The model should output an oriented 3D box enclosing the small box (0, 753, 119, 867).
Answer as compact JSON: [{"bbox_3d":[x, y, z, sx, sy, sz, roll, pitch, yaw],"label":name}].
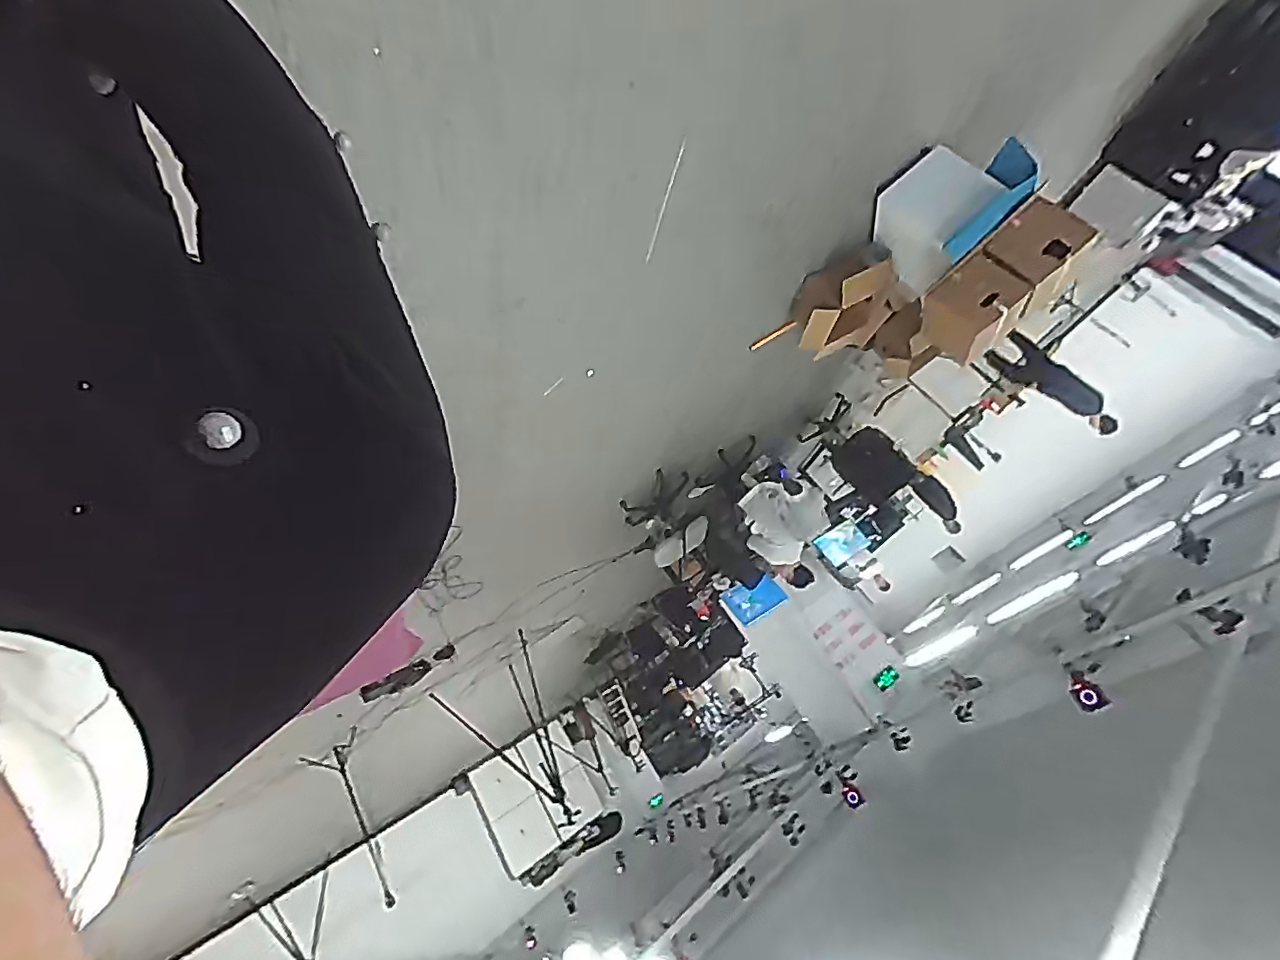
[{"bbox_3d":[-1.505,0.851,1.401,0.179,0.176,0.168,-20,152,-38],"label":"small box"}]
